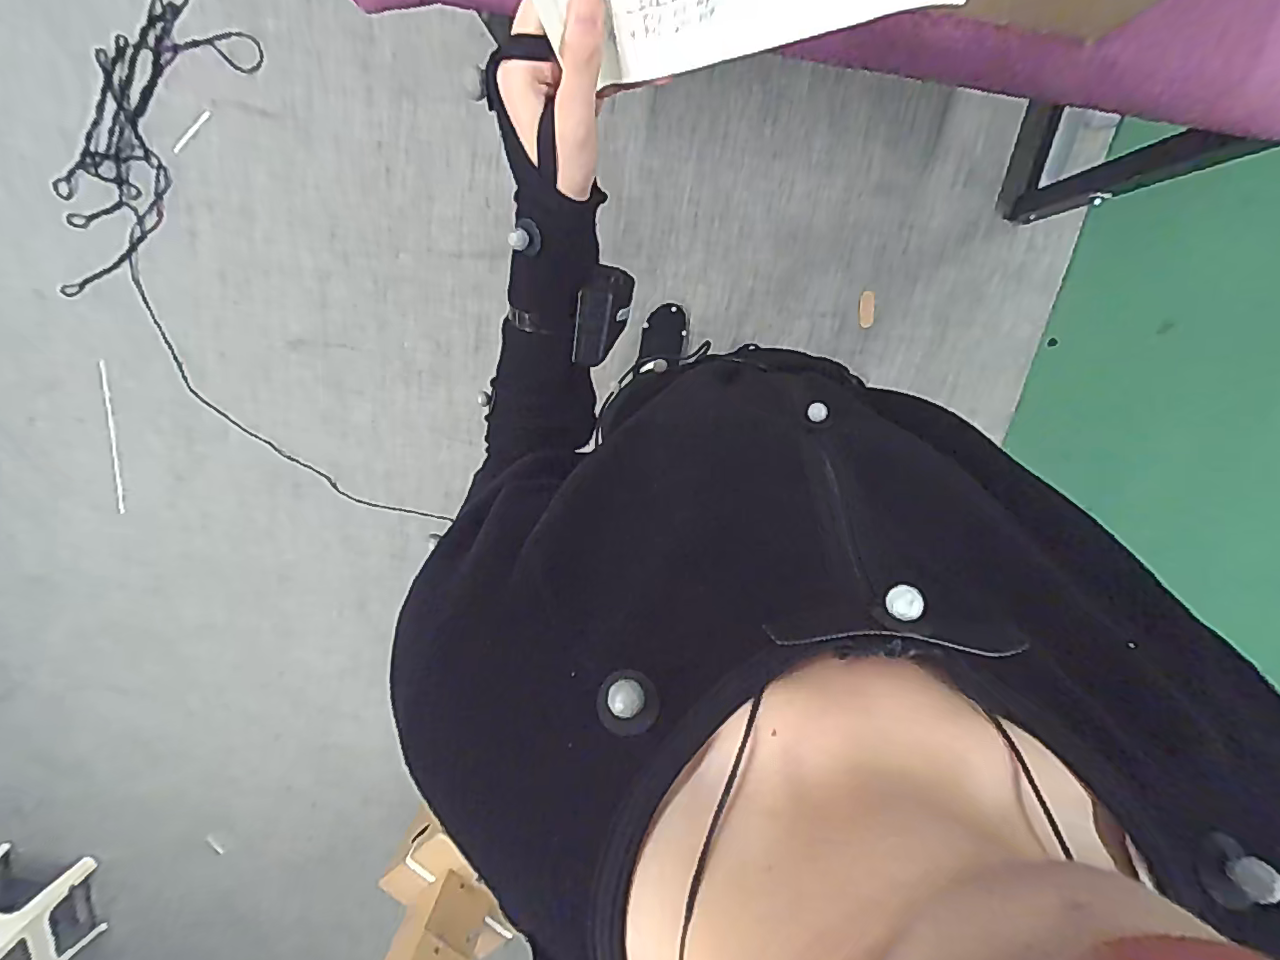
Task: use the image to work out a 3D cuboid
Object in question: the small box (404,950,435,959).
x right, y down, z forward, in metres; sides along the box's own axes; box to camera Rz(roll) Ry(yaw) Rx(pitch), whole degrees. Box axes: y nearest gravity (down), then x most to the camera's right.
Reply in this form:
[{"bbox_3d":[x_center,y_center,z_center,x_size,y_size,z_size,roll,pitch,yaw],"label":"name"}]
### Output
[{"bbox_3d":[-0.570,1.318,1.329,0.168,0.176,0.179,44,105,-7],"label":"small box"}]
